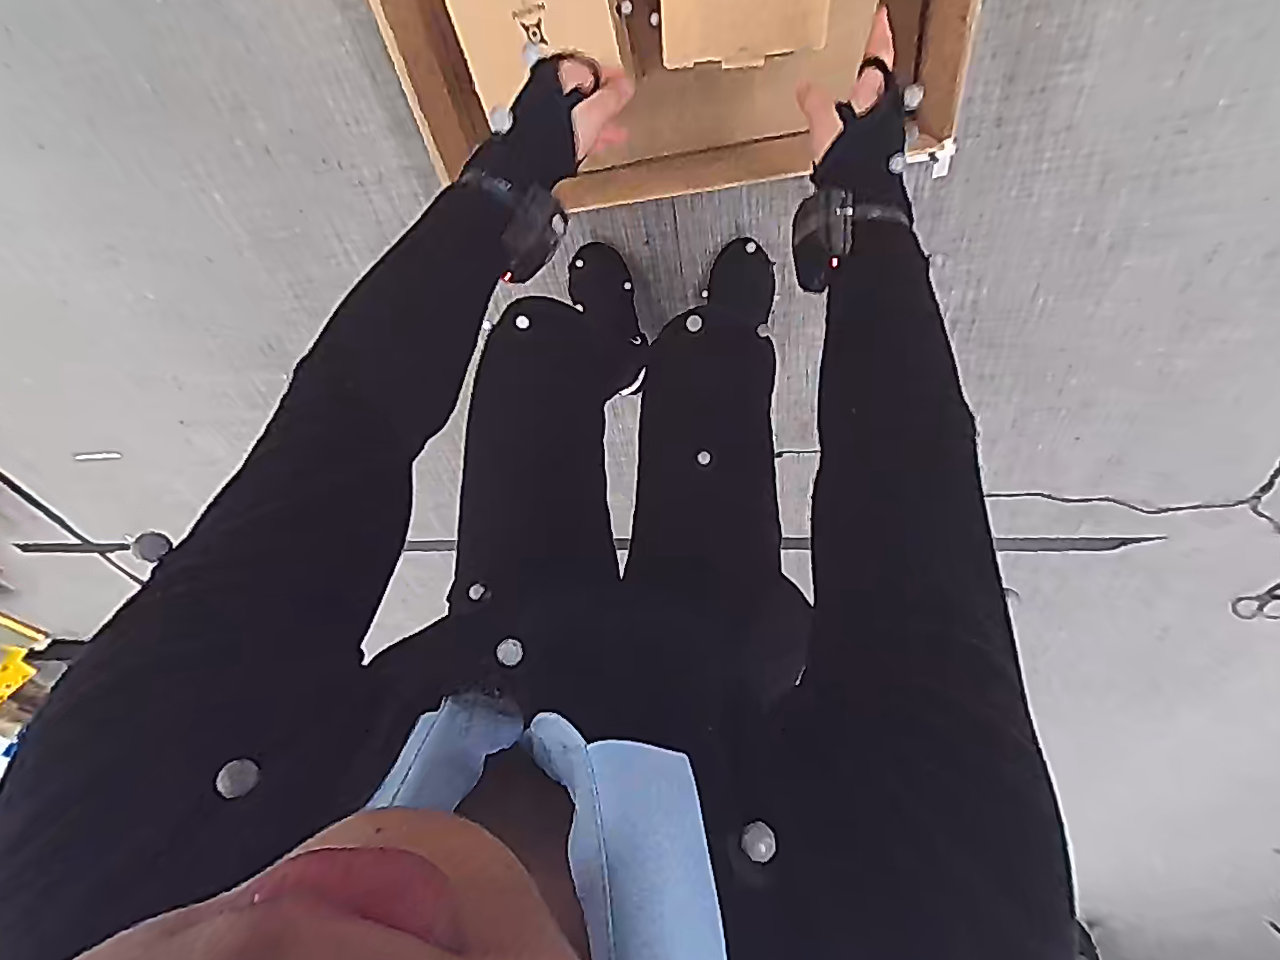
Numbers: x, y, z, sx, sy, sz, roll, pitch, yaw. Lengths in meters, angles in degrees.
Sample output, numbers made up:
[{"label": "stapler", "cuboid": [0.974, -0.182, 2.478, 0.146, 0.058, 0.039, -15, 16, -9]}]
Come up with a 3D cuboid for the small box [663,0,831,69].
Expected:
[{"label": "small box", "cuboid": [0.109, -0.550, 0.559, 0.168, 0.176, 0.179, 1, 134, 9]}]

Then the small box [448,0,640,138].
[{"label": "small box", "cuboid": [-0.100, -0.523, 0.615, 0.168, 0.176, 0.179, -6, 132, 12]}]
